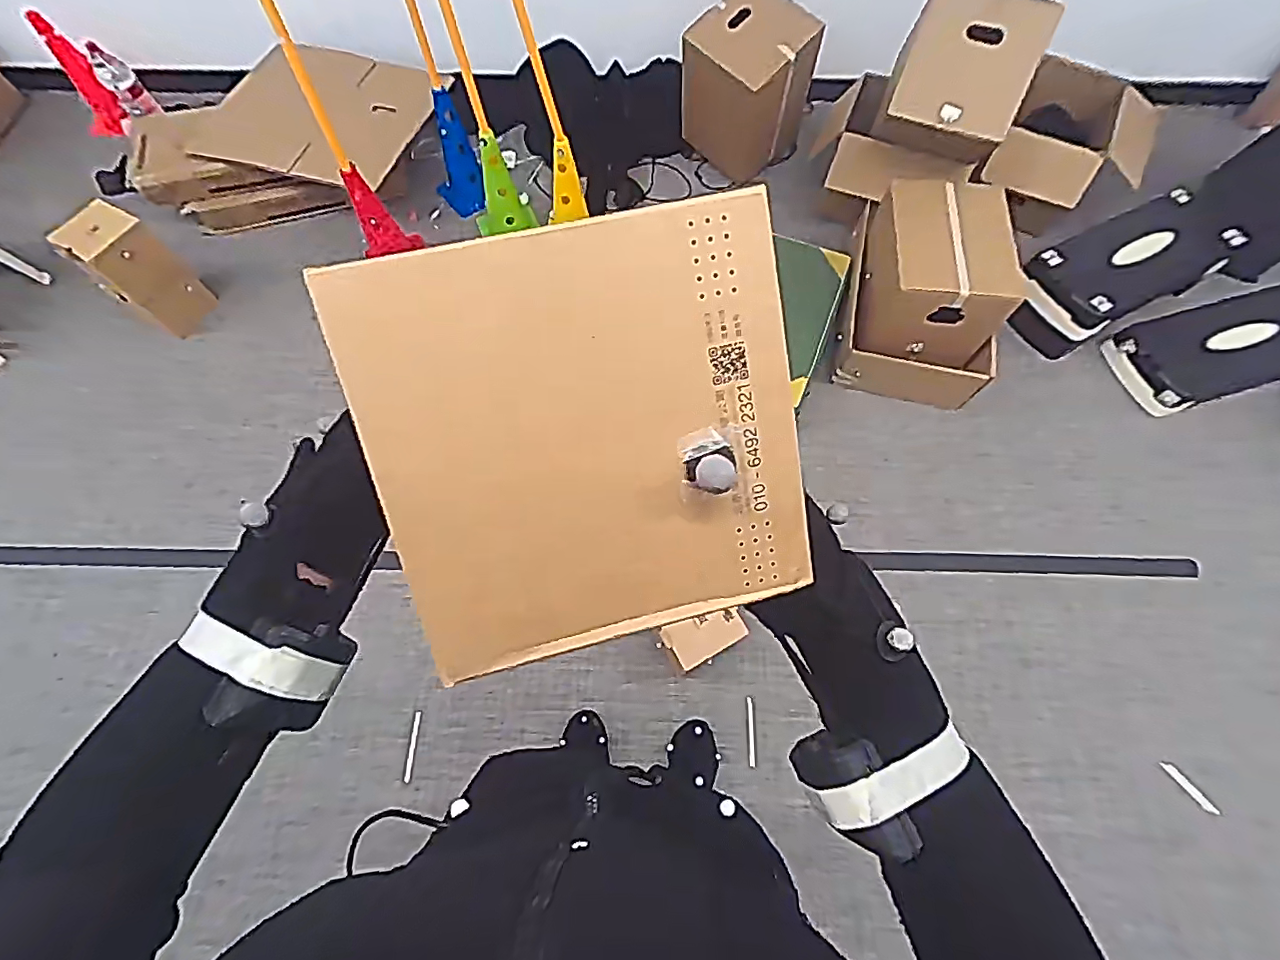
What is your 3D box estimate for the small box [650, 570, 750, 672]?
[{"bbox_3d":[0.138,0.348,1.311,0.179,0.176,0.168,-29,70,-12],"label":"small box"}]
